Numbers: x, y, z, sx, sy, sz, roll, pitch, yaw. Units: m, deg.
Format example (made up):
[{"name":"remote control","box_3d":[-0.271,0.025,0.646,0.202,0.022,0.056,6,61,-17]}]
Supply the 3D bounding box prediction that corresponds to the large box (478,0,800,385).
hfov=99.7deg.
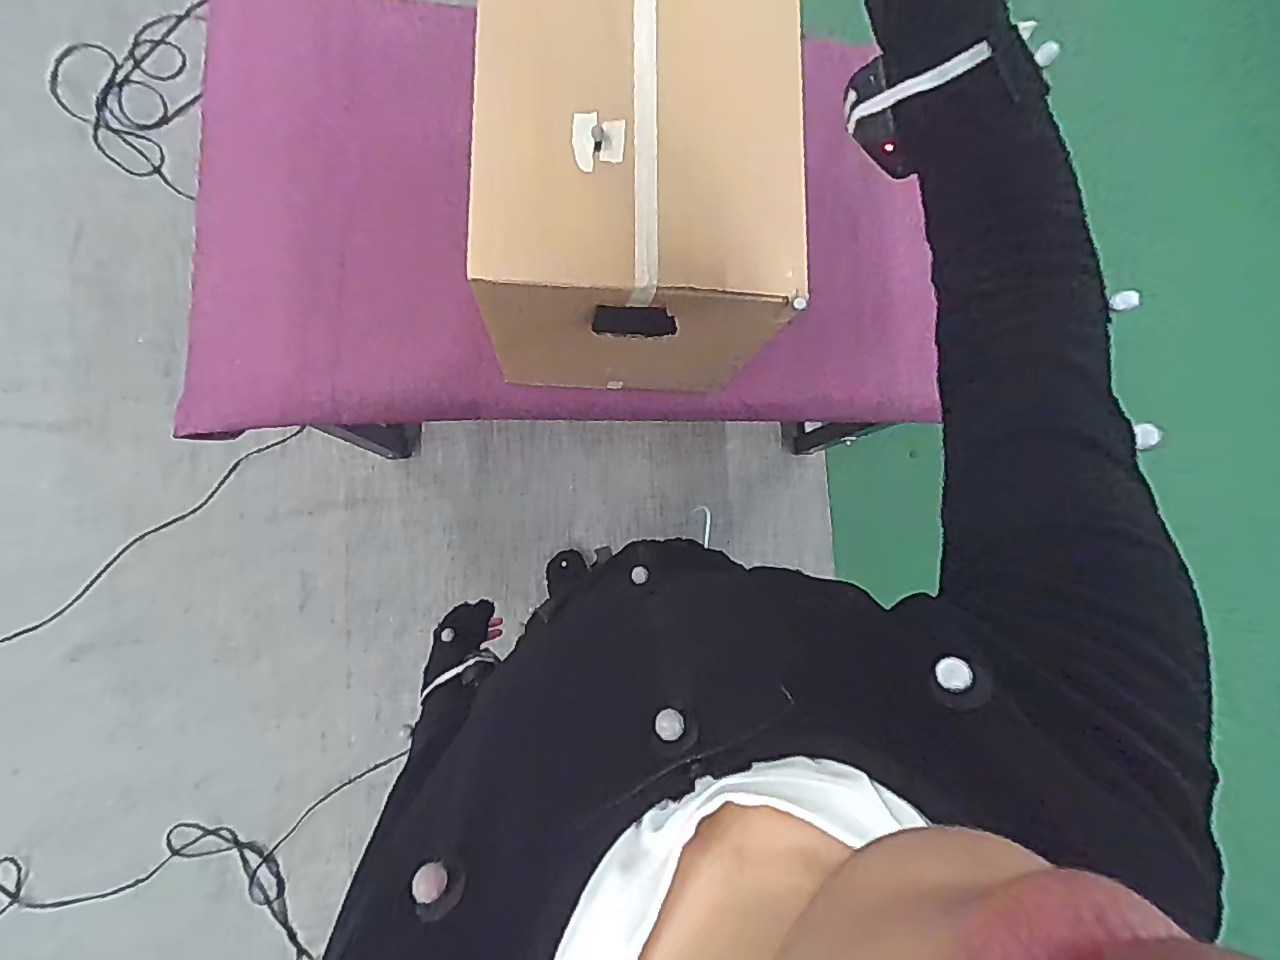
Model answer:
[{"name":"large box","box_3d":[-0.018,-0.358,0.671,0.320,0.320,0.408,1,84,-8]}]
